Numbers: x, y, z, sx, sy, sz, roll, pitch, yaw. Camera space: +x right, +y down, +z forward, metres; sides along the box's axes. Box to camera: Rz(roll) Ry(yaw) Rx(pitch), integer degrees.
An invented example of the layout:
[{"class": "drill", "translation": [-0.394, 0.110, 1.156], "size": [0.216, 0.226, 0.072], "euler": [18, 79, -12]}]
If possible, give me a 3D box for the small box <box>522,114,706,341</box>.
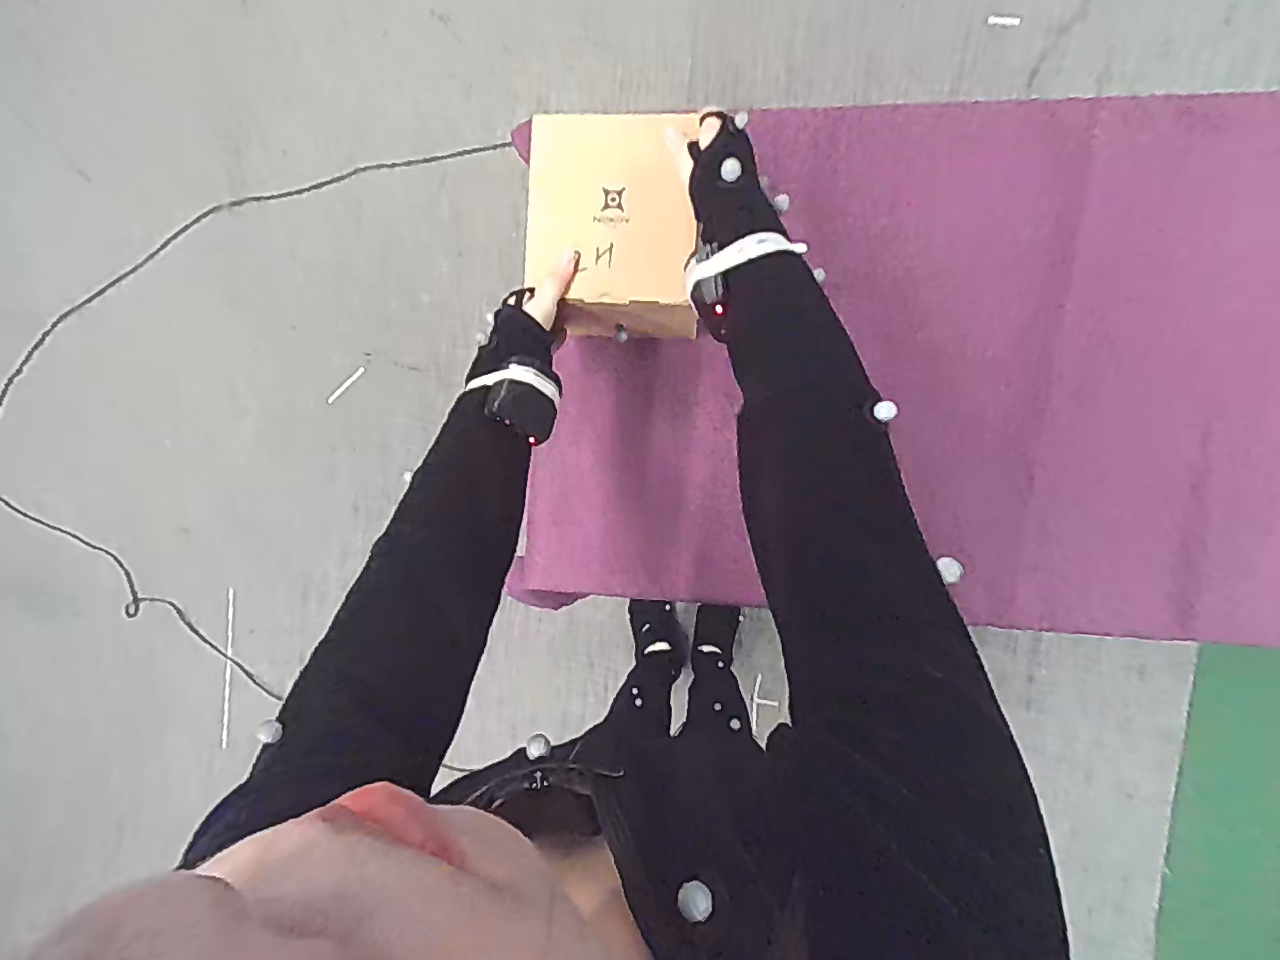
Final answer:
[{"class": "small box", "translation": [-0.018, -0.262, 0.594], "size": [0.168, 0.176, 0.179], "euler": [5, 95, 7]}]
